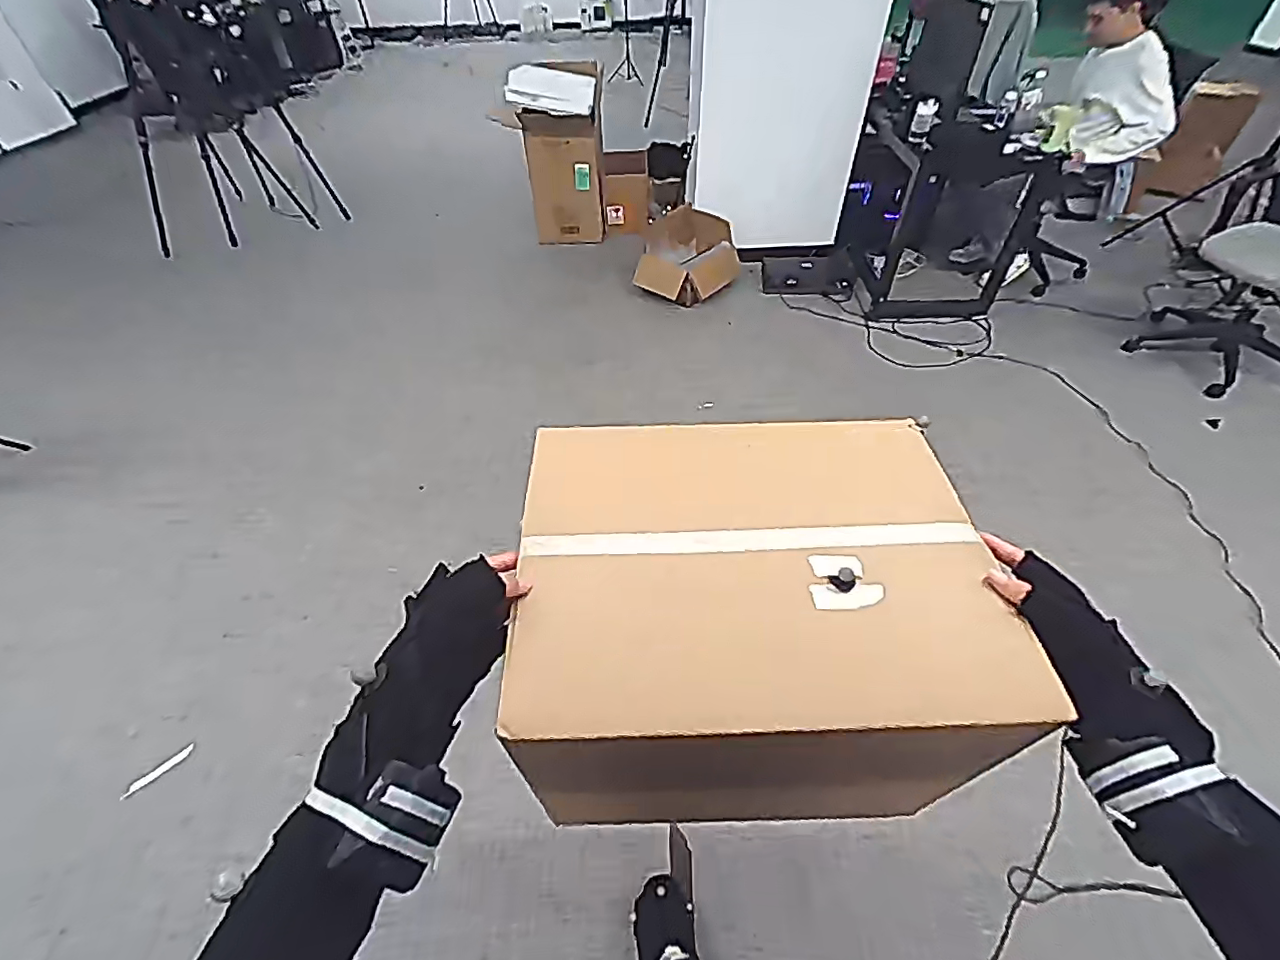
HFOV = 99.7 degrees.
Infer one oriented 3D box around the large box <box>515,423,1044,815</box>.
[{"bbox_3d":[0.097,0.156,0.603,0.408,0.320,0.320,-2,49,-1],"label":"large box"}]
